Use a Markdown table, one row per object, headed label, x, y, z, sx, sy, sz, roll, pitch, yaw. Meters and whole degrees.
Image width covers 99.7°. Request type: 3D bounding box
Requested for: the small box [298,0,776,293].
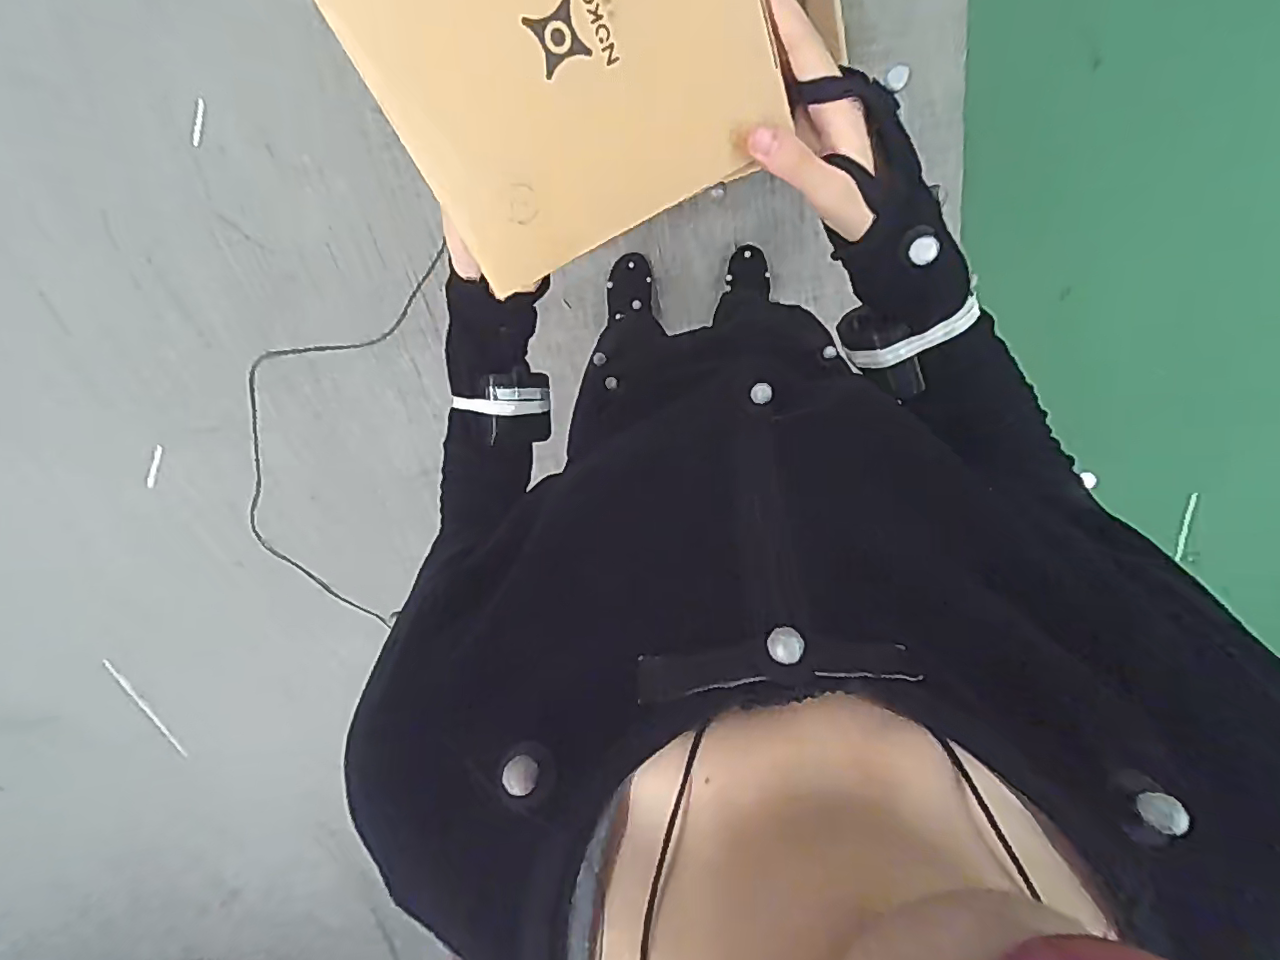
| label | x | y | z | sx | sy | sz | roll | pitch | yaw |
| --- | --- | --- | --- | --- | --- | --- | --- | --- | --- |
| small box | -0.054 | -0.236 | 0.306 | 0.179 | 0.176 | 0.168 | -28 | 124 | 4 |
